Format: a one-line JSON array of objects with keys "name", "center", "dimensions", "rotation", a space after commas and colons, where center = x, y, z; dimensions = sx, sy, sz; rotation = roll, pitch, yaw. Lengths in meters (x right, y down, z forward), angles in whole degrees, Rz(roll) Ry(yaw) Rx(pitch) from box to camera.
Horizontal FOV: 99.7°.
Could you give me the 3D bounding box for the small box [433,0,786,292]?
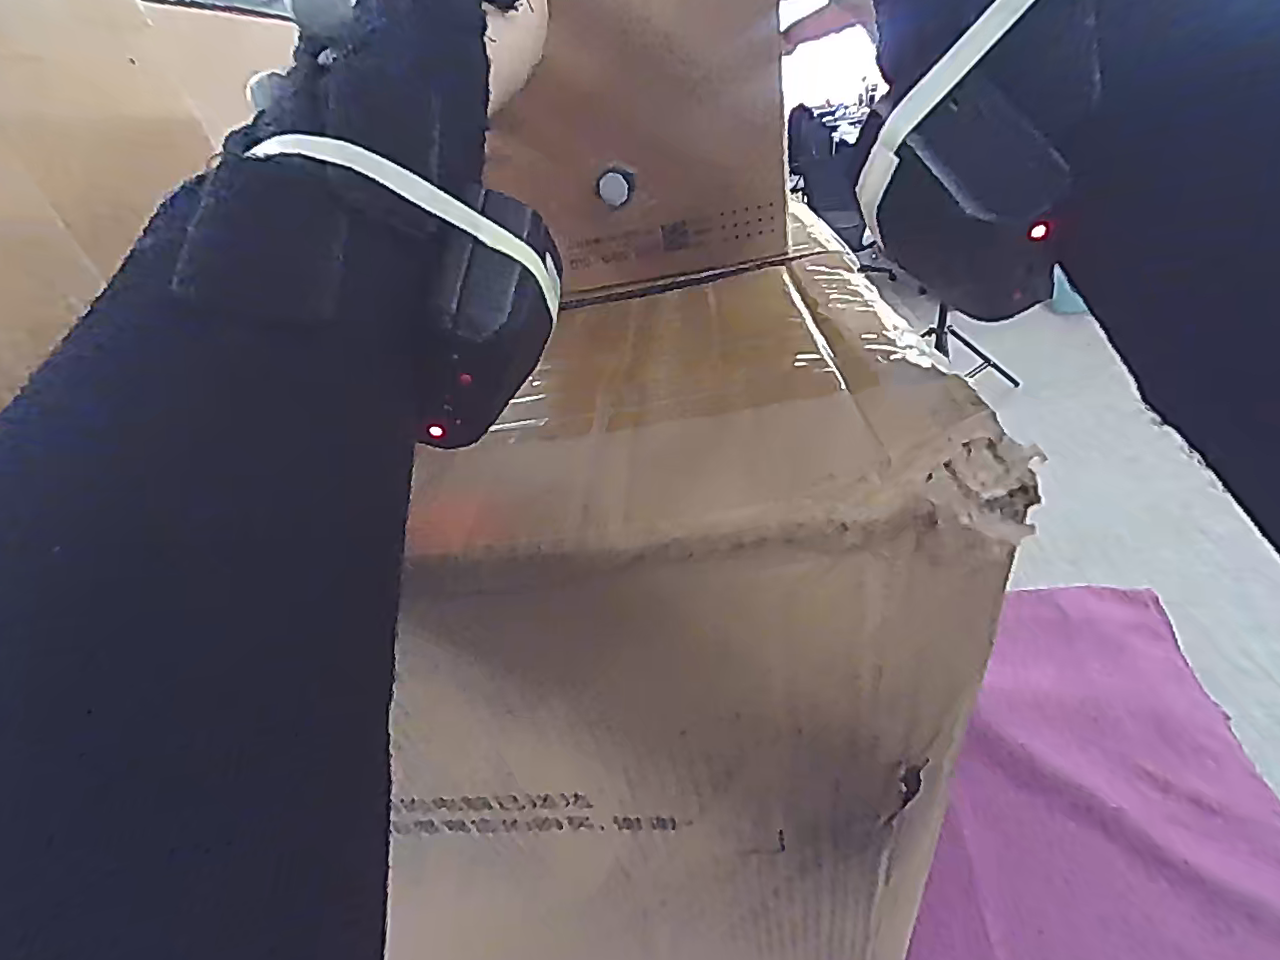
[{"name": "small box", "center": [-0.002, -0.232, 0.338], "dimensions": [0.168, 0.176, 0.179], "rotation": [-6, 35, 12]}]
